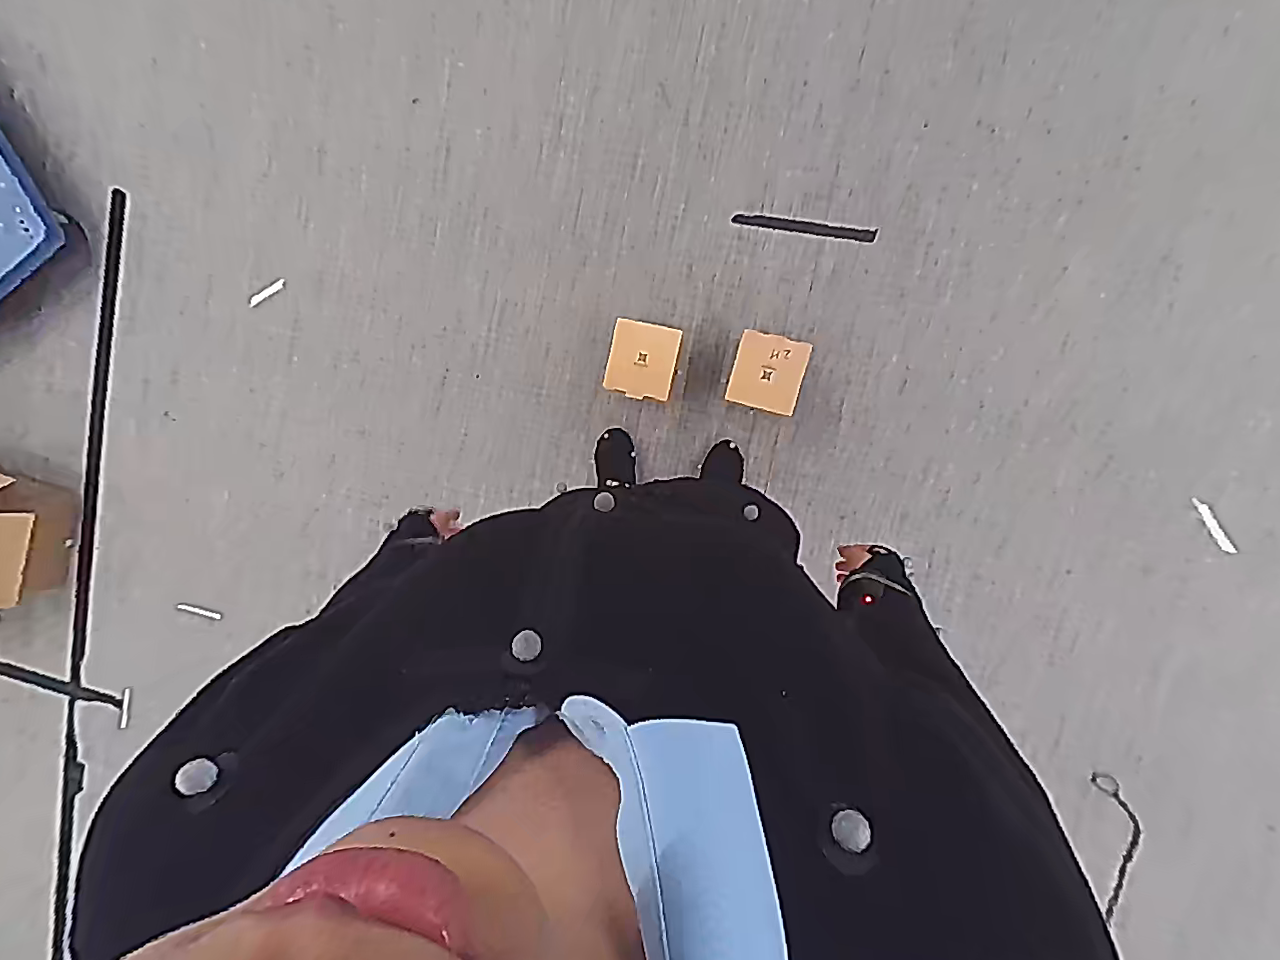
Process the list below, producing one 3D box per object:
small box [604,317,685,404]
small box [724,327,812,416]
[{"bbox_3d":[0.017,-0.299,1.384,0.168,0.176,0.179,13,97,6],"label":"small box"},{"bbox_3d":[0.311,-0.262,1.348,0.168,0.176,0.179,16,96,5],"label":"small box"}]
